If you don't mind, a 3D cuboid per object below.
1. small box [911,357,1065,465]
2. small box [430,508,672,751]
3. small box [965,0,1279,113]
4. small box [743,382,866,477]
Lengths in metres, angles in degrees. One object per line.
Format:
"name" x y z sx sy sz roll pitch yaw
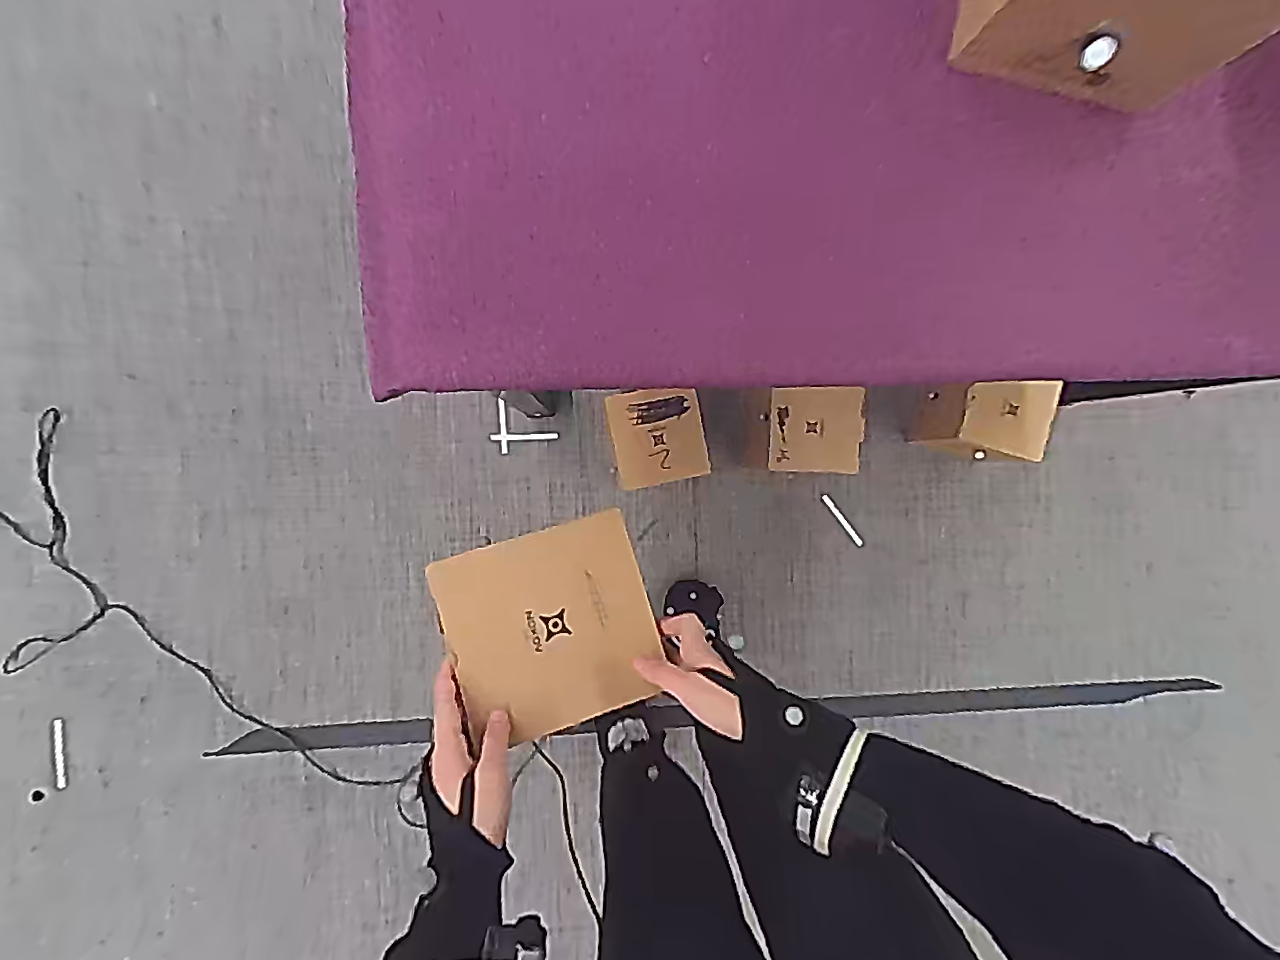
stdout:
"small box" 0.693 -0.135 1.095 0.179 0.176 0.168 15 92 -4
"small box" -0.086 0.137 0.545 0.179 0.176 0.168 -17 85 -10
"small box" 0.332 -0.372 0.322 0.168 0.176 0.179 10 92 -5
"small box" 0.316 -0.096 1.065 0.179 0.176 0.168 2 93 -5
